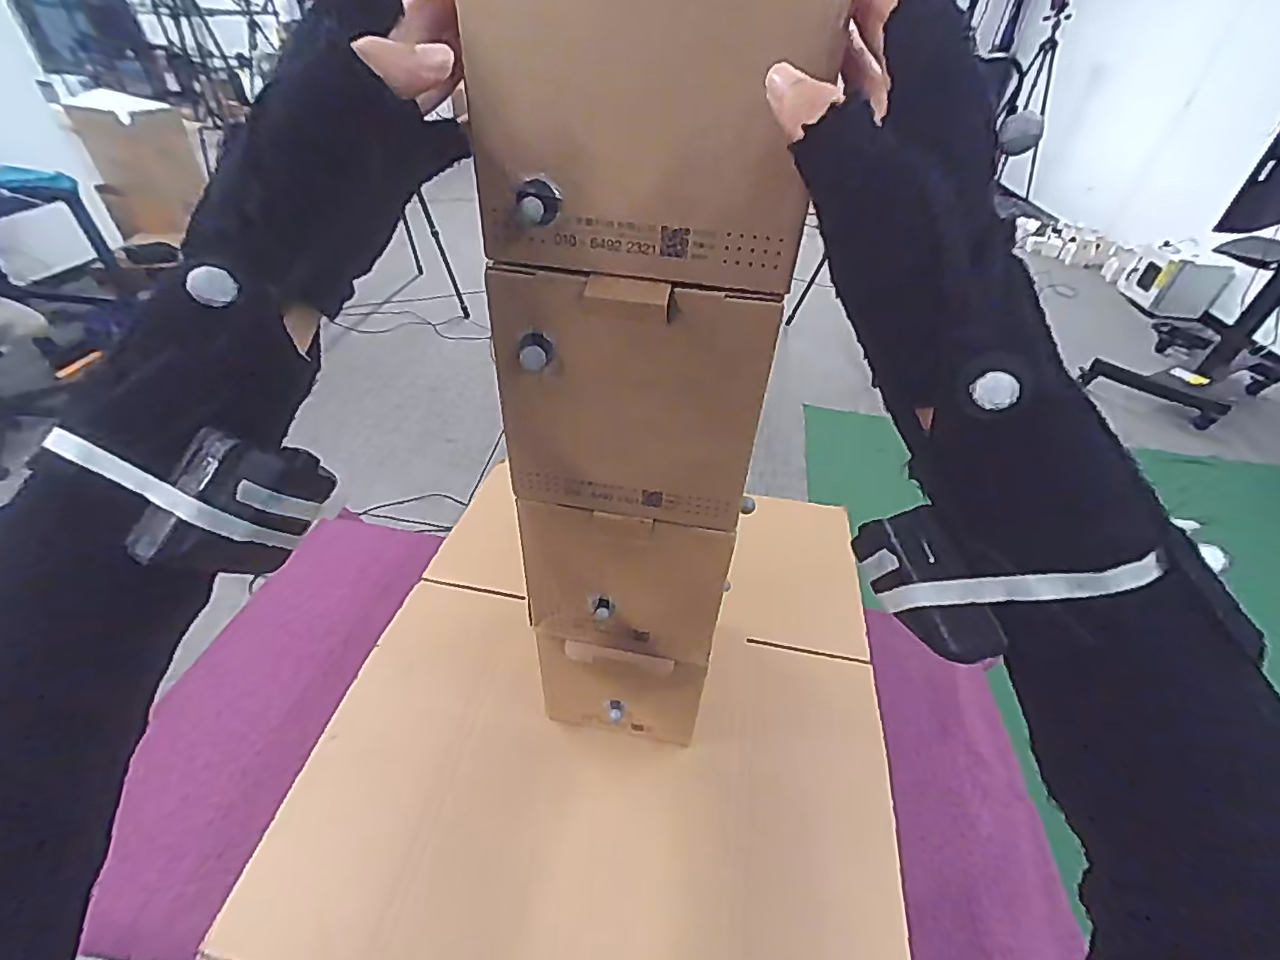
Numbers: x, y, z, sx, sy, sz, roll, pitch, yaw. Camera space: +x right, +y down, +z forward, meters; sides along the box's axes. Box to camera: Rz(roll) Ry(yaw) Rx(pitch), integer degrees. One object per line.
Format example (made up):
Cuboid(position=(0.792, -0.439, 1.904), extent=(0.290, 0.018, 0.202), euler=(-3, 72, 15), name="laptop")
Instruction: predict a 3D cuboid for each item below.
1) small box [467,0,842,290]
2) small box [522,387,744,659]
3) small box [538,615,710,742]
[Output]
Cuboid(position=(0.017, -0.221, 0.309), extent=(0.168, 0.176, 0.179), euler=(9, 38, 6), name="small box")
Cuboid(position=(-0.002, 0.037, 0.514), extent=(0.168, 0.176, 0.179), euler=(10, 40, 6), name="small box")
Cuboid(position=(-0.008, 0.162, 0.618), extent=(0.168, 0.176, 0.179), euler=(9, 40, 7), name="small box")
